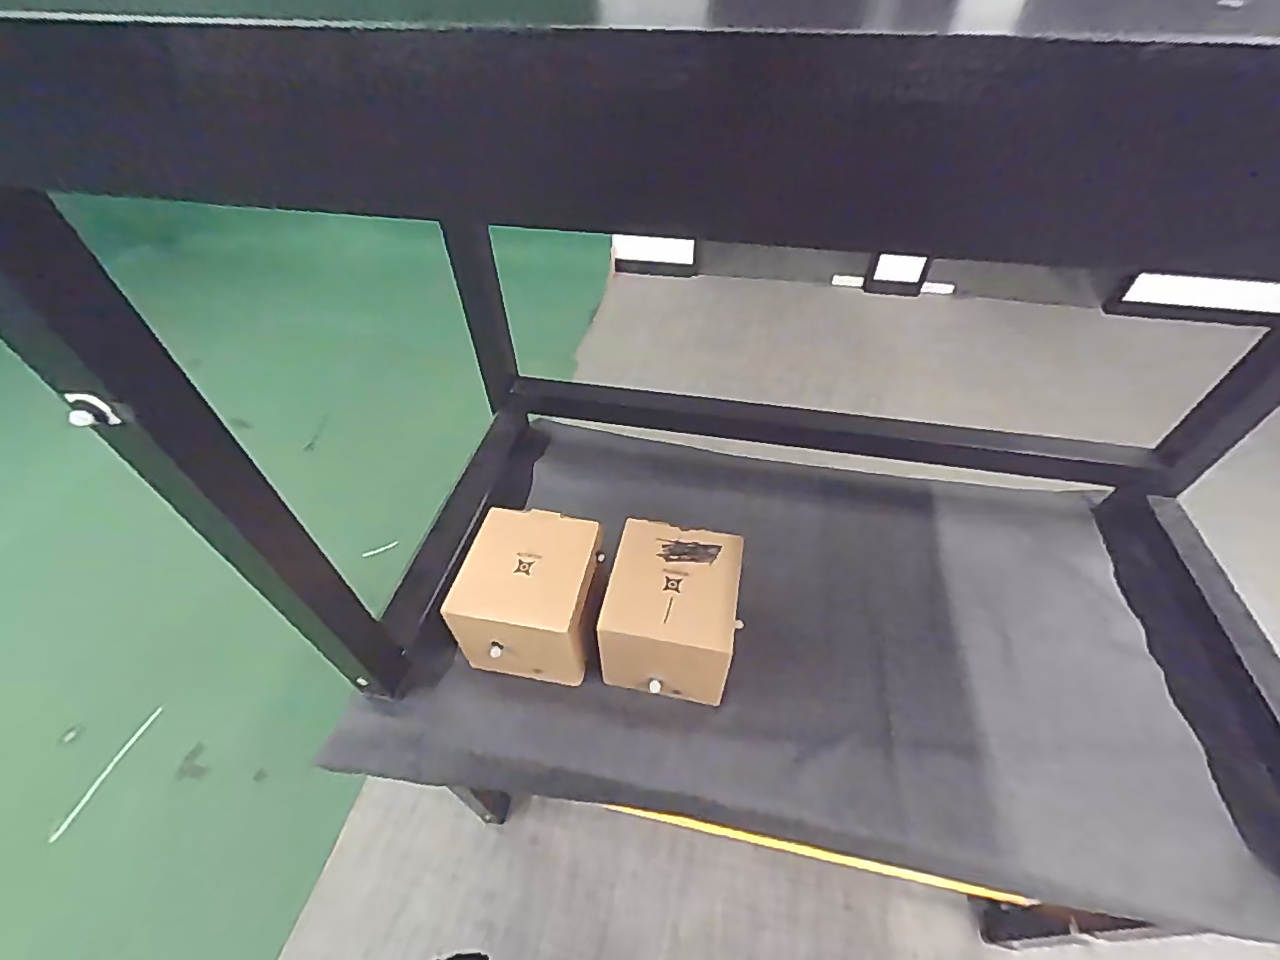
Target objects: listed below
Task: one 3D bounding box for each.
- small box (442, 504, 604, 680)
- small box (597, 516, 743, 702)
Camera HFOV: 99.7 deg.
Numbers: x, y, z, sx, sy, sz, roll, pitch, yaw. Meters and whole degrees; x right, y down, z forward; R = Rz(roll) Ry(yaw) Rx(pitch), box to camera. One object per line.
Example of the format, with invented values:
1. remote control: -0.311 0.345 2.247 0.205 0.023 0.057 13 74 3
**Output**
1. small box: -0.150 0.162 0.770 0.168 0.176 0.179 8 47 7
2. small box: 0.045 0.179 0.751 0.168 0.176 0.179 8 48 9
